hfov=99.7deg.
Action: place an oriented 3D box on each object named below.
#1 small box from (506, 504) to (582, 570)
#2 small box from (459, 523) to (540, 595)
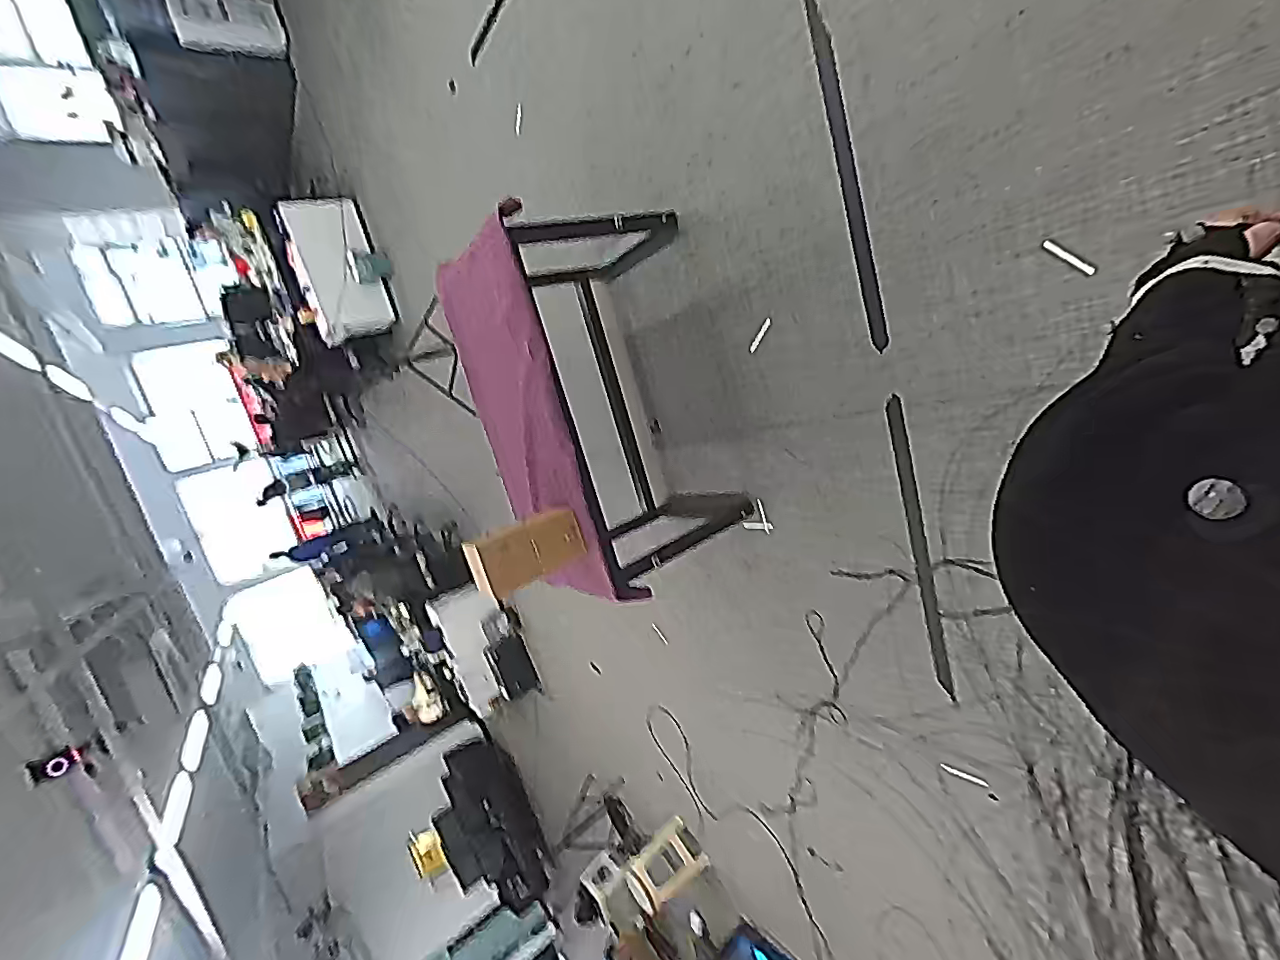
[{"bbox_3d":[-0.317,0.185,1.794,0.179,0.176,0.168,-6,105,56],"label":"small box"},{"bbox_3d":[-0.442,0.241,1.706,0.168,0.176,0.179,-8,104,58],"label":"small box"}]
